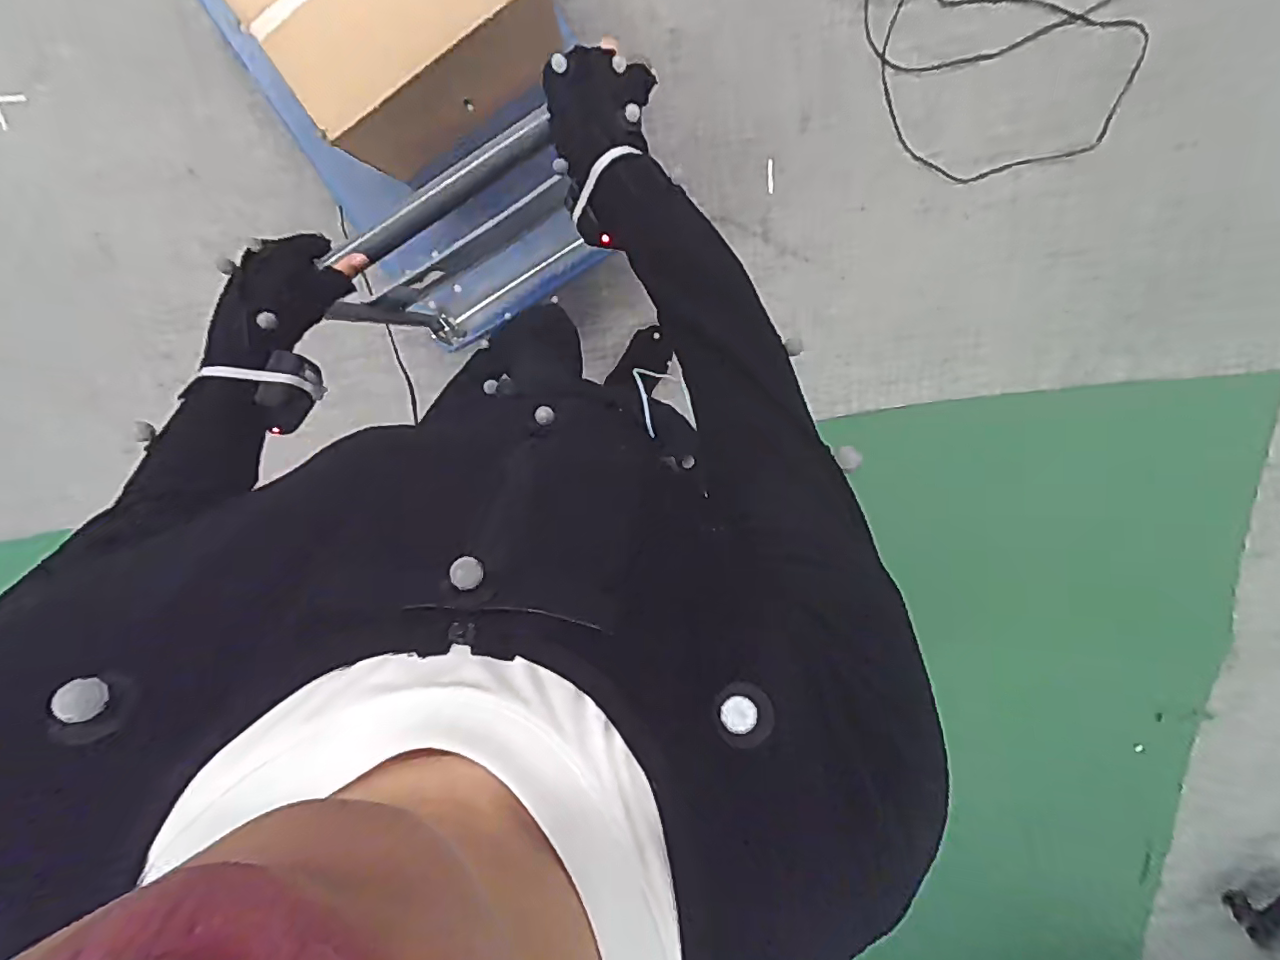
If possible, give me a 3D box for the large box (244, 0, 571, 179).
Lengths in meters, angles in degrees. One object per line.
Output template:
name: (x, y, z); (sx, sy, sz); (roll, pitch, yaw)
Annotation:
large box: (-0.375, -0.793, 0.913); (0.408, 0.320, 0.320); (-30, 106, 9)
